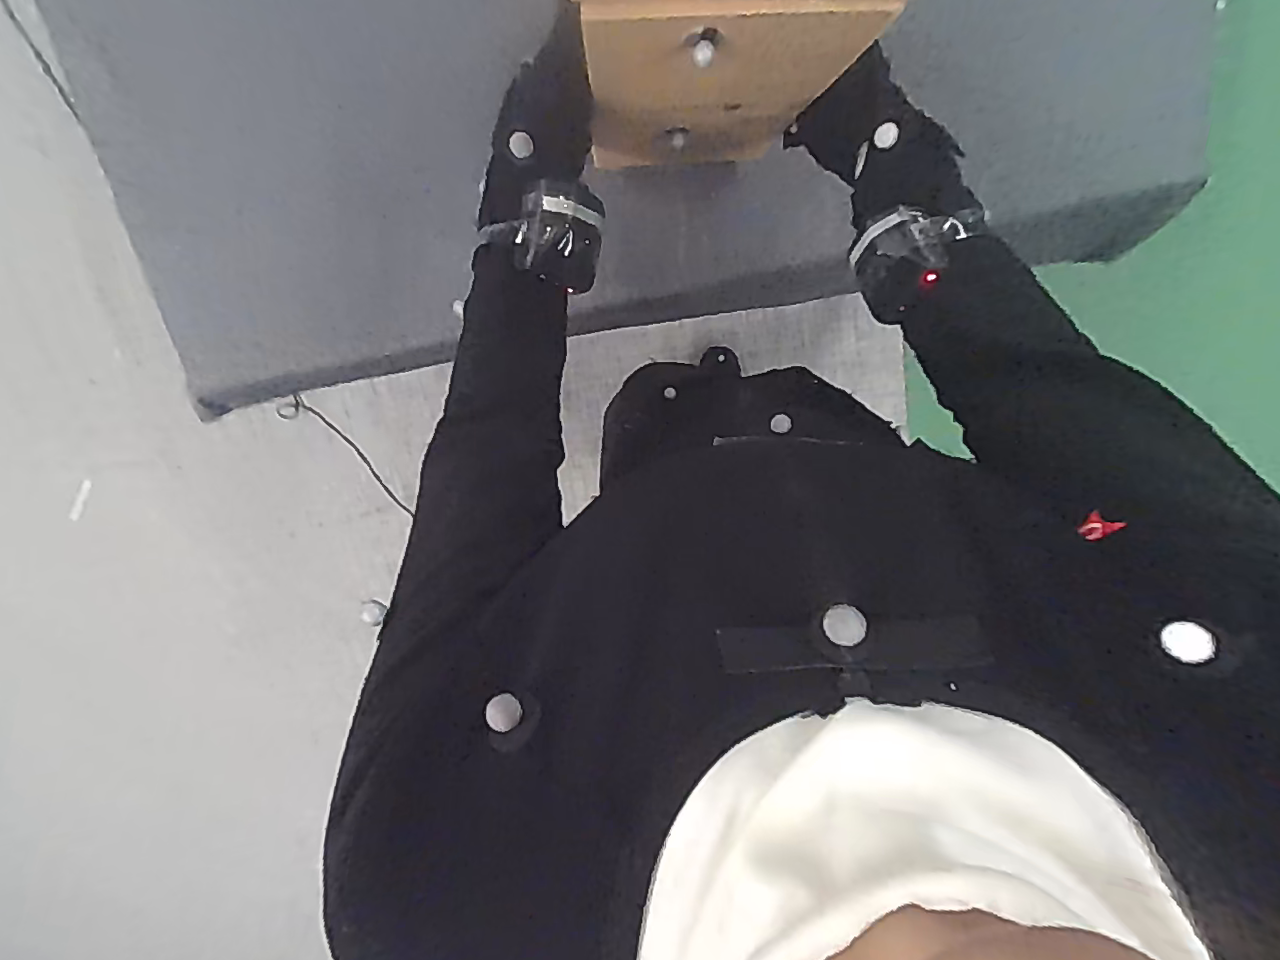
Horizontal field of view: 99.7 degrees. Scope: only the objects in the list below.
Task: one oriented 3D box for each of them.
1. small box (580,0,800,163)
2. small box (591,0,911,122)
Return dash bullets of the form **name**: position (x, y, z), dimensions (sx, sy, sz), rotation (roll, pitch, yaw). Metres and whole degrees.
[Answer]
- **small box**: position (0.040, -0.394, 0.480), dimensions (0.179, 0.176, 0.168), rotation (-3, 109, -1)
- **small box**: position (0.050, -0.346, 0.327), dimensions (0.168, 0.176, 0.179), rotation (-5, 110, -1)
